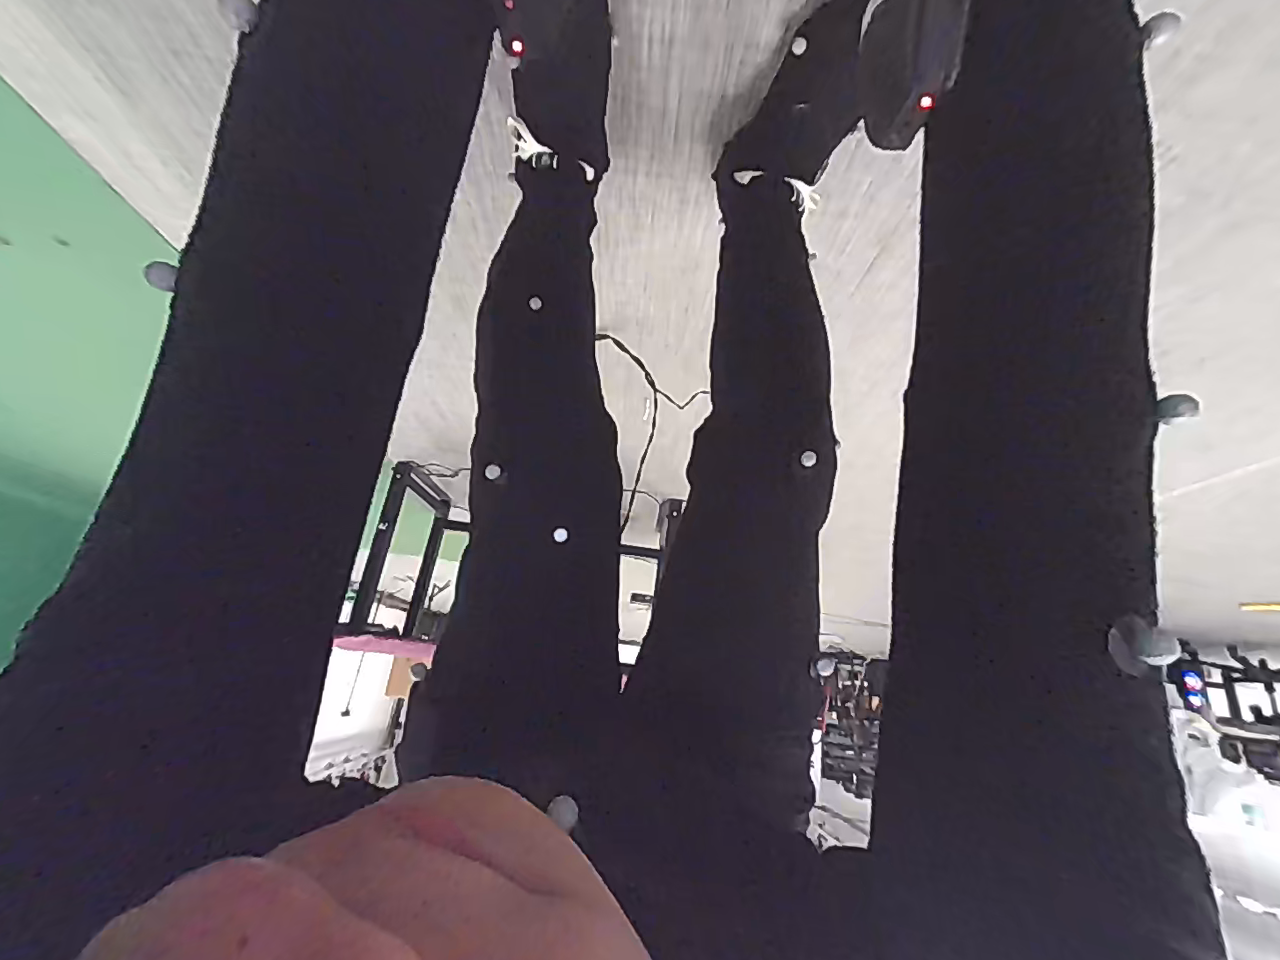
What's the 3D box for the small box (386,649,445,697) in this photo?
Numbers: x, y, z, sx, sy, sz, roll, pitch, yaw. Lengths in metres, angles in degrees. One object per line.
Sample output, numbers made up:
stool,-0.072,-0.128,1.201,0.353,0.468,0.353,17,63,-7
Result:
small box,-0.941,0.814,2.286,0.168,0.176,0.179,7,160,-2
